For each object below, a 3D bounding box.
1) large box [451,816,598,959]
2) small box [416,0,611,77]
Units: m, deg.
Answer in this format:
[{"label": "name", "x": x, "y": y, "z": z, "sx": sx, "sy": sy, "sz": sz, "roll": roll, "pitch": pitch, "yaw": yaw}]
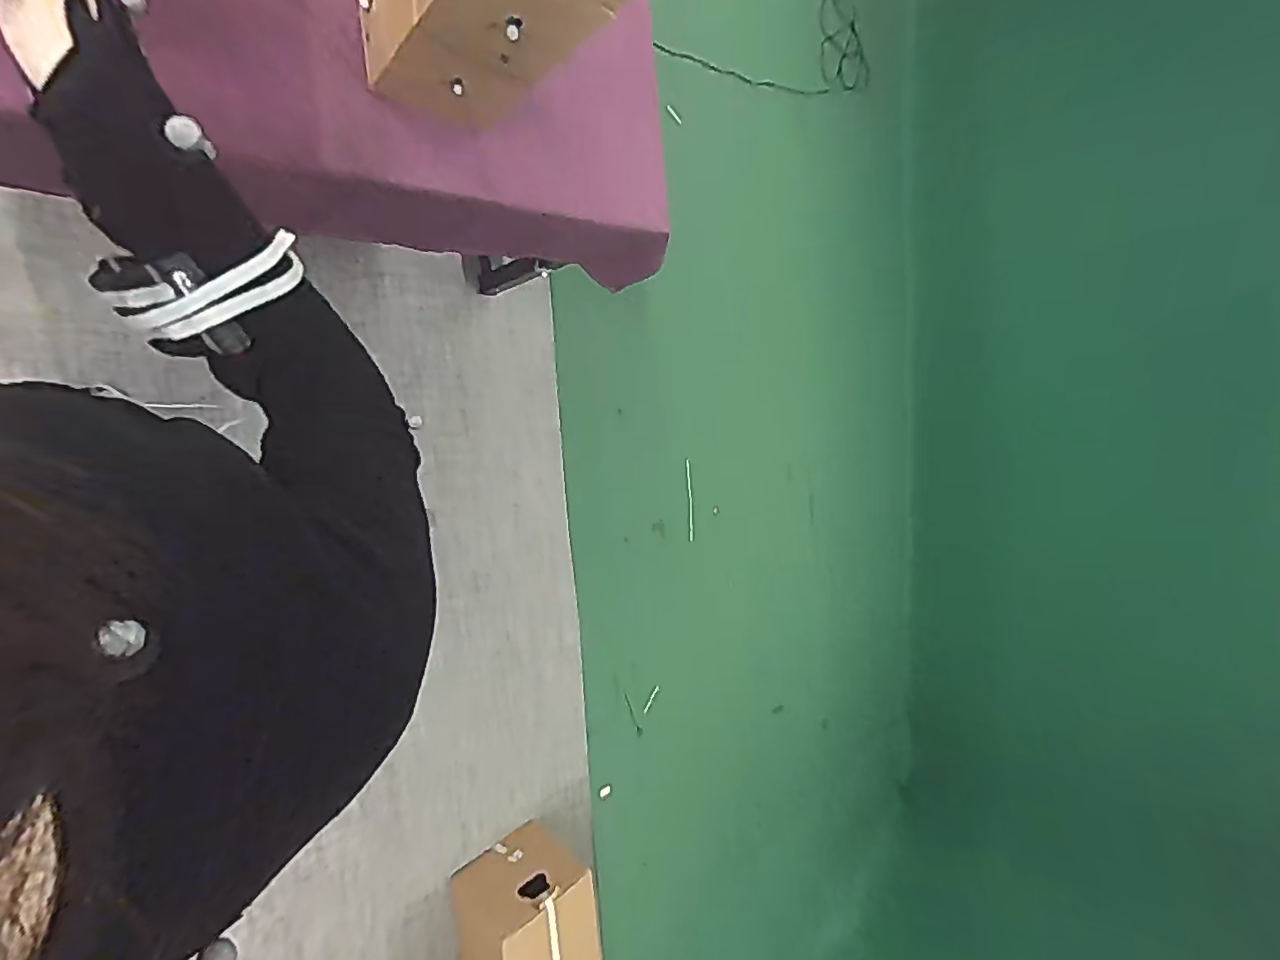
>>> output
[{"label": "large box", "x": -0.357, "y": 1.378, "z": 1.685, "sx": 0.320, "sy": 0.320, "sz": 0.408, "roll": -12, "pitch": 102, "yaw": -44}, {"label": "small box", "x": -0.149, "y": -0.613, "z": 0.616, "sx": 0.168, "sy": 0.176, "sz": 0.179, "roll": -6, "pitch": 97, "yaw": -44}]
